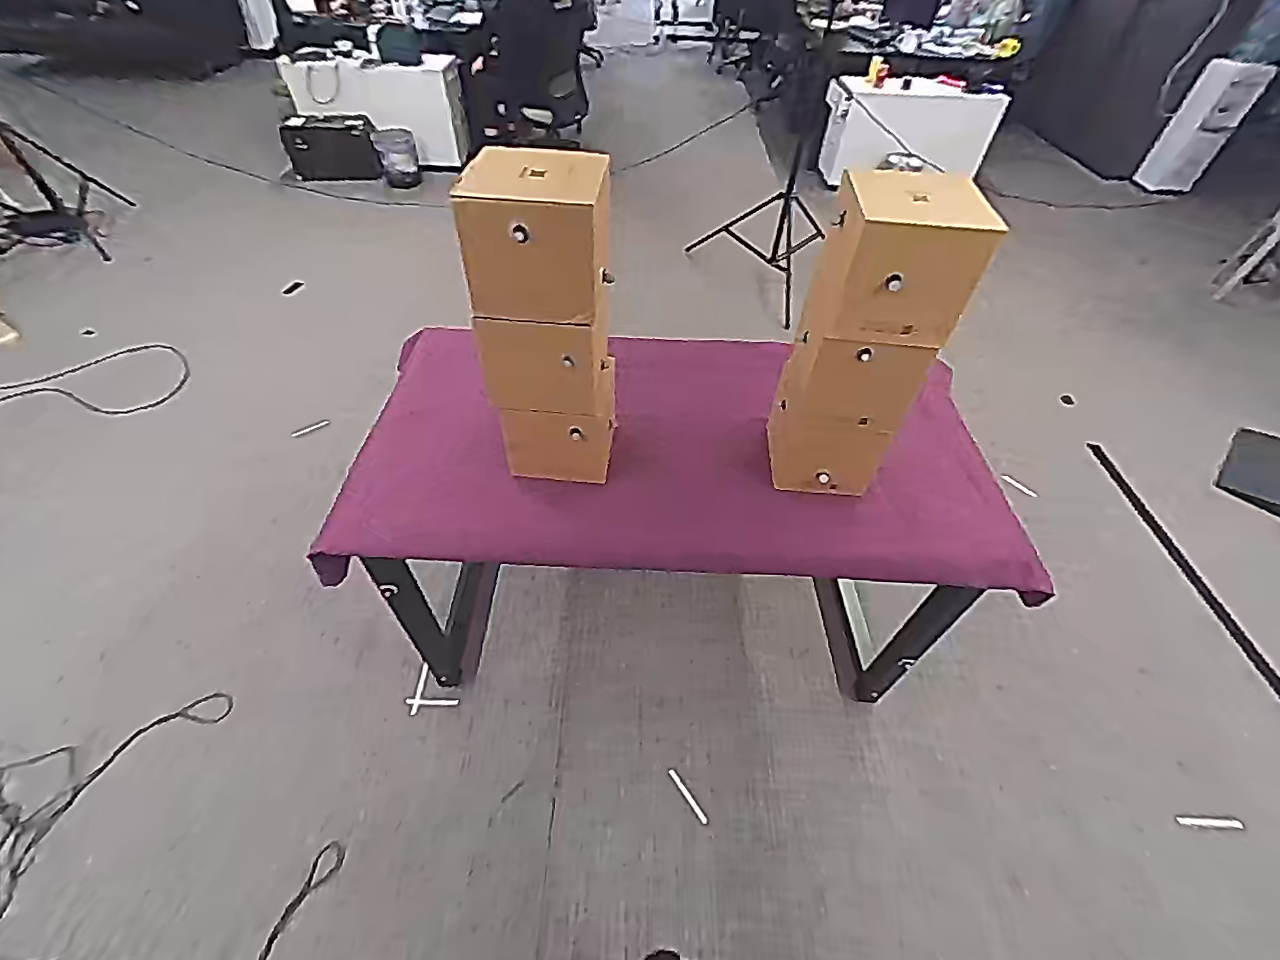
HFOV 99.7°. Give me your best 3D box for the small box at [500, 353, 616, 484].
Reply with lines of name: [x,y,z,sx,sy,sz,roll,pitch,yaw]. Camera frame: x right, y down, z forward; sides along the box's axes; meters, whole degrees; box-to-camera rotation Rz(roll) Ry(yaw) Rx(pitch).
small box: [-0.139,-0.109,0.990,0.179,0.176,0.168,4,47,2]

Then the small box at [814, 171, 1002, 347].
small box: [0.348,-0.302,0.744,0.168,0.176,0.179,5,48,3]

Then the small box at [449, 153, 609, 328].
small box: [-0.138,-0.329,0.748,0.179,0.176,0.168,4,49,0]

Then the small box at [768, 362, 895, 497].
small box: [0.338,-0.092,0.995,0.168,0.176,0.179,4,49,2]

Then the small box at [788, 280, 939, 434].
small box: [0.342,-0.198,0.870,0.168,0.176,0.179,5,47,3]
